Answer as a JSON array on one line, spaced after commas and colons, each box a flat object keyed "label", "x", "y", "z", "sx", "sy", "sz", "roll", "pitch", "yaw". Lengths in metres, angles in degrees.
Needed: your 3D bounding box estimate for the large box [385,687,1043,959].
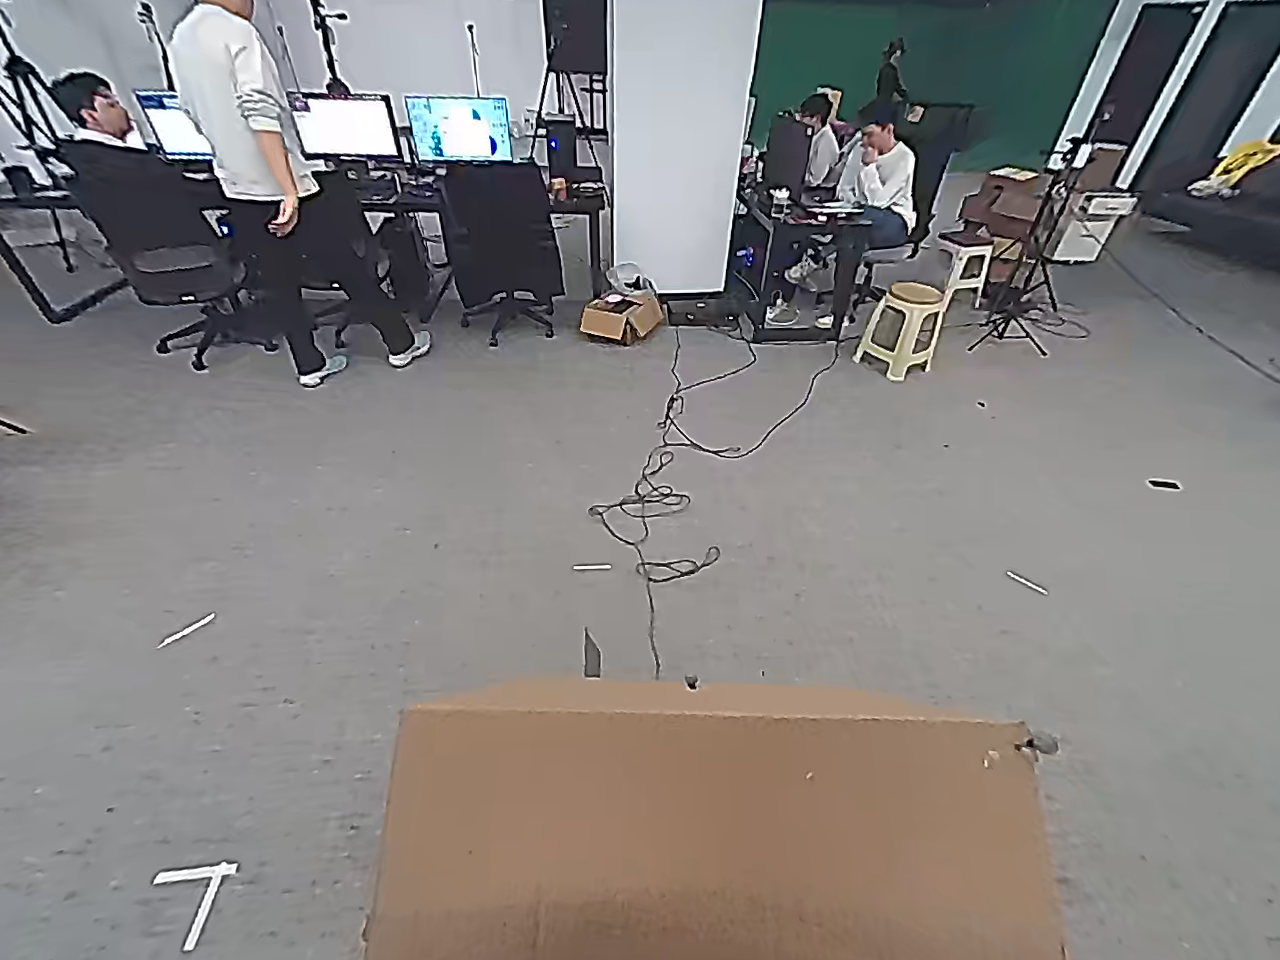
[{"label": "large box", "x": 0.043, "y": 0.351, "z": 0.462, "sx": 0.408, "sy": 0.320, "sz": 0.320, "roll": 0, "pitch": 74, "yaw": 1}]
